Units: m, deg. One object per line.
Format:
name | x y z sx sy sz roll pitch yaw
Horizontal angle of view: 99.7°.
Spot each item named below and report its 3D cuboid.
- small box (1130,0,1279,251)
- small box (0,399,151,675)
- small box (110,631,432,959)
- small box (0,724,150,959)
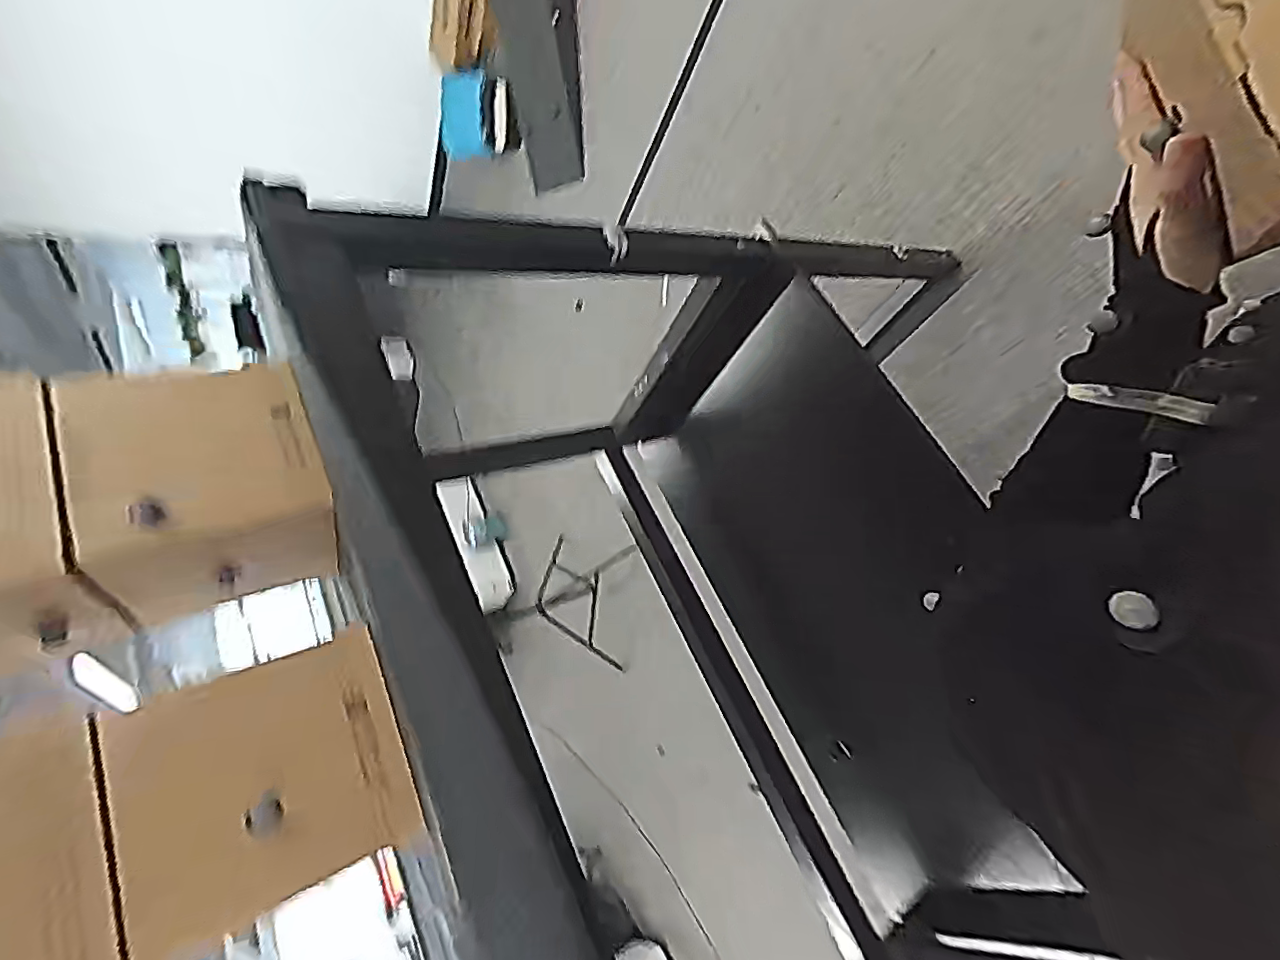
small box | 0.349 -0.225 0.229 0.179 0.176 0.168 -20 85 41
small box | -0.522 0.052 0.423 0.179 0.176 0.168 61 146 18
small box | -0.283 0.244 0.446 0.168 0.176 0.179 64 146 17
small box | -0.411 0.276 0.348 0.179 0.176 0.168 62 146 16
